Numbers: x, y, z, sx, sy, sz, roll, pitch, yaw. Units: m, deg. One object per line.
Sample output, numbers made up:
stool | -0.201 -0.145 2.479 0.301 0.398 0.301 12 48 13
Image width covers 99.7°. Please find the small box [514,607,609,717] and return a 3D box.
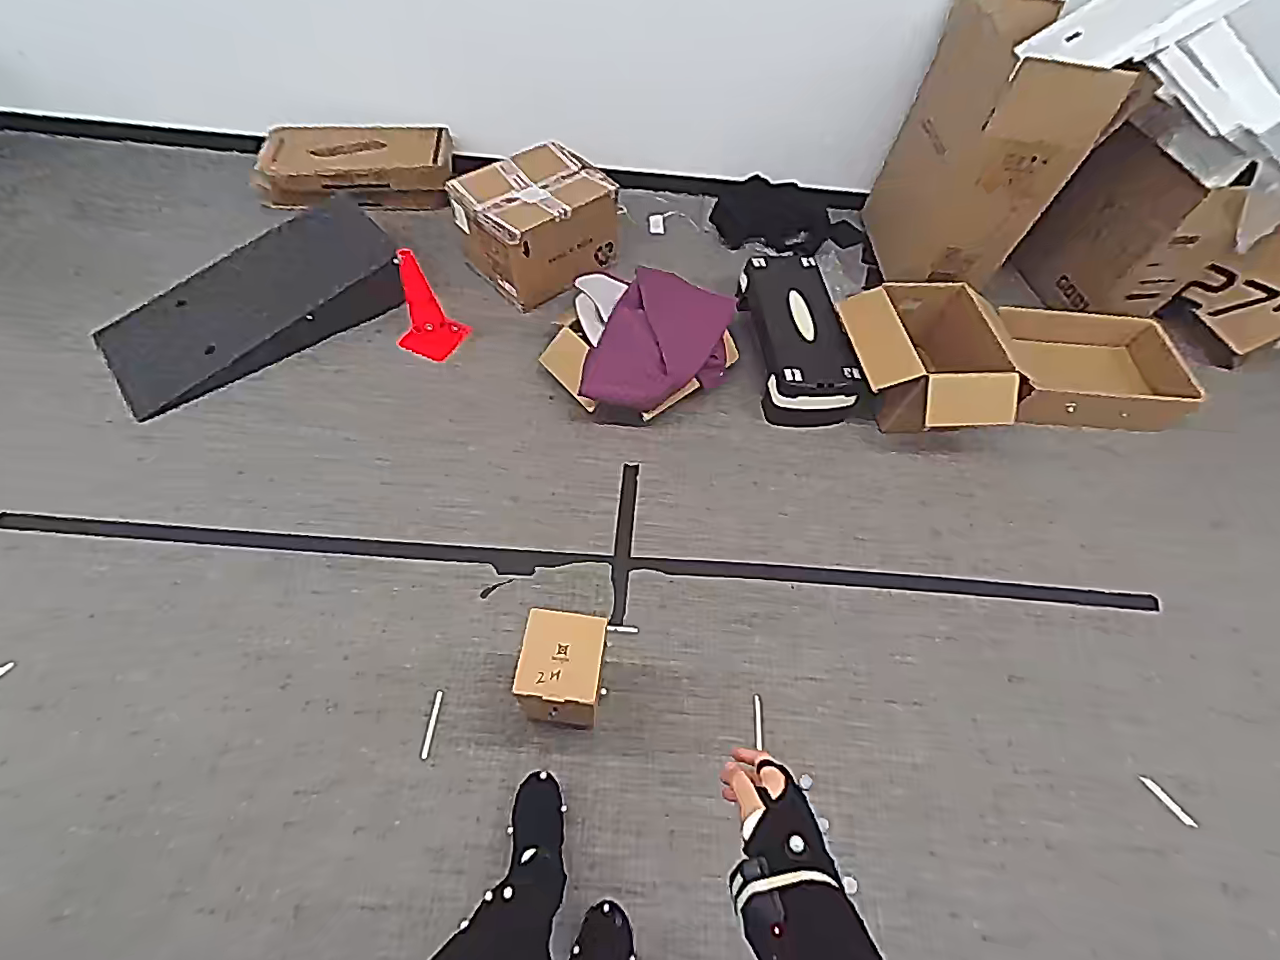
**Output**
small box | -0.163 0.394 1.161 0.168 0.176 0.179 8 59 1

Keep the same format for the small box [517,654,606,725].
small box | -0.181 0.483 1.299 0.179 0.176 0.168 8 59 0
